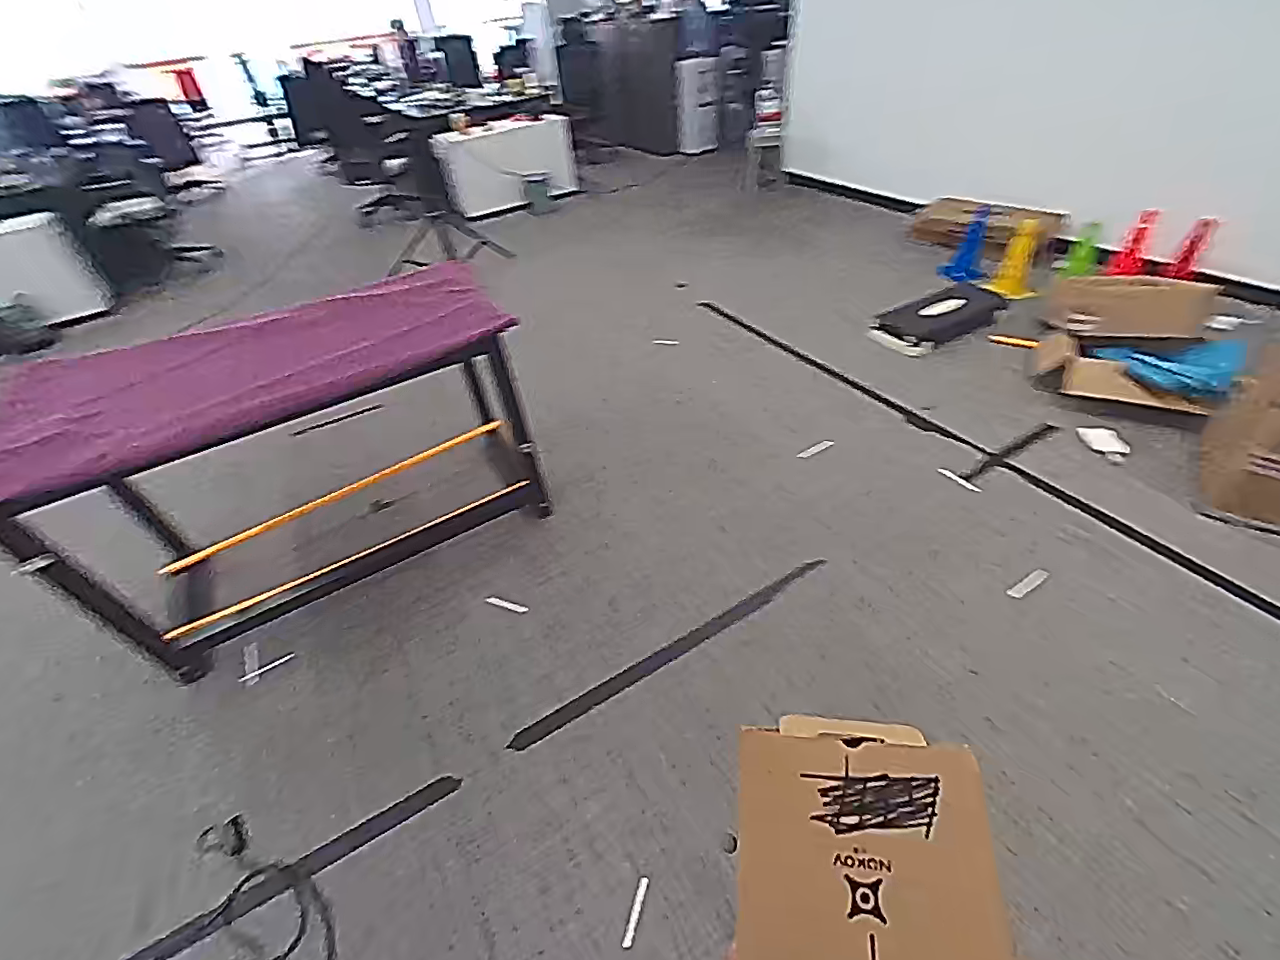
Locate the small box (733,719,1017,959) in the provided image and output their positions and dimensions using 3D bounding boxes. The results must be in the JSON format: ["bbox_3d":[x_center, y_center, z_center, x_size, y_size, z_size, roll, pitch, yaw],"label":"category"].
[{"bbox_3d":[0.156,0.300,0.413,0.168,0.176,0.179,-1,55,11],"label":"small box"}]
